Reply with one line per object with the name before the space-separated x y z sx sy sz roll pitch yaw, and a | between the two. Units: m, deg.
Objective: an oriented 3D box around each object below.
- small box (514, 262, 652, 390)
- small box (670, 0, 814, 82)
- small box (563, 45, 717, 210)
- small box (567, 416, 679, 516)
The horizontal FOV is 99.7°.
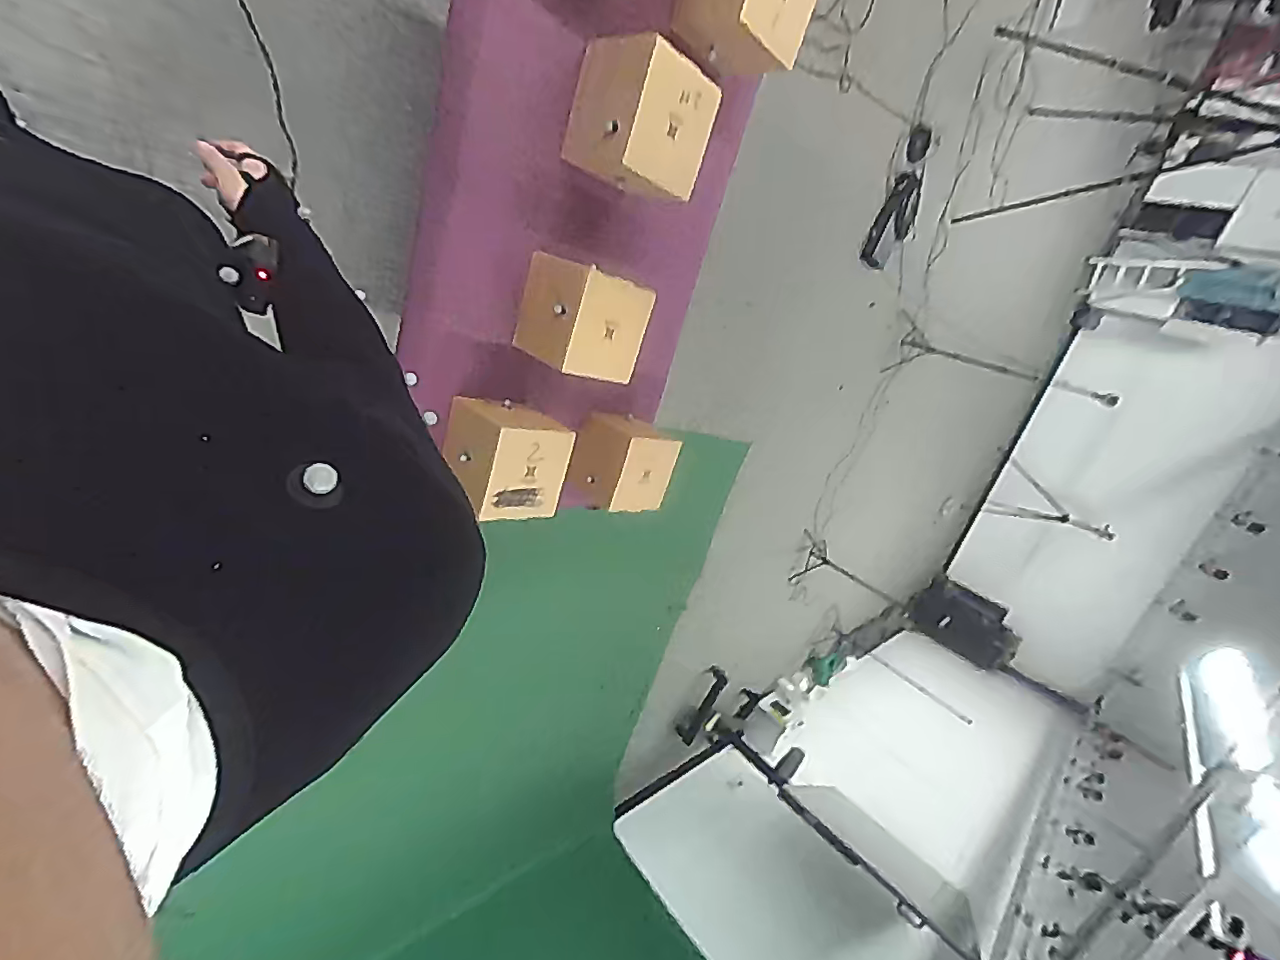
small box | -0.112 -0.285 1.004 0.168 0.176 0.179 0 114 -47
small box | 0.178 -0.829 0.937 0.168 0.176 0.179 -1 117 -46
small box | -0.006 -0.582 0.908 0.168 0.176 0.179 -1 116 -48
small box | -0.046 -0.031 1.245 0.168 0.176 0.179 2 113 -46
